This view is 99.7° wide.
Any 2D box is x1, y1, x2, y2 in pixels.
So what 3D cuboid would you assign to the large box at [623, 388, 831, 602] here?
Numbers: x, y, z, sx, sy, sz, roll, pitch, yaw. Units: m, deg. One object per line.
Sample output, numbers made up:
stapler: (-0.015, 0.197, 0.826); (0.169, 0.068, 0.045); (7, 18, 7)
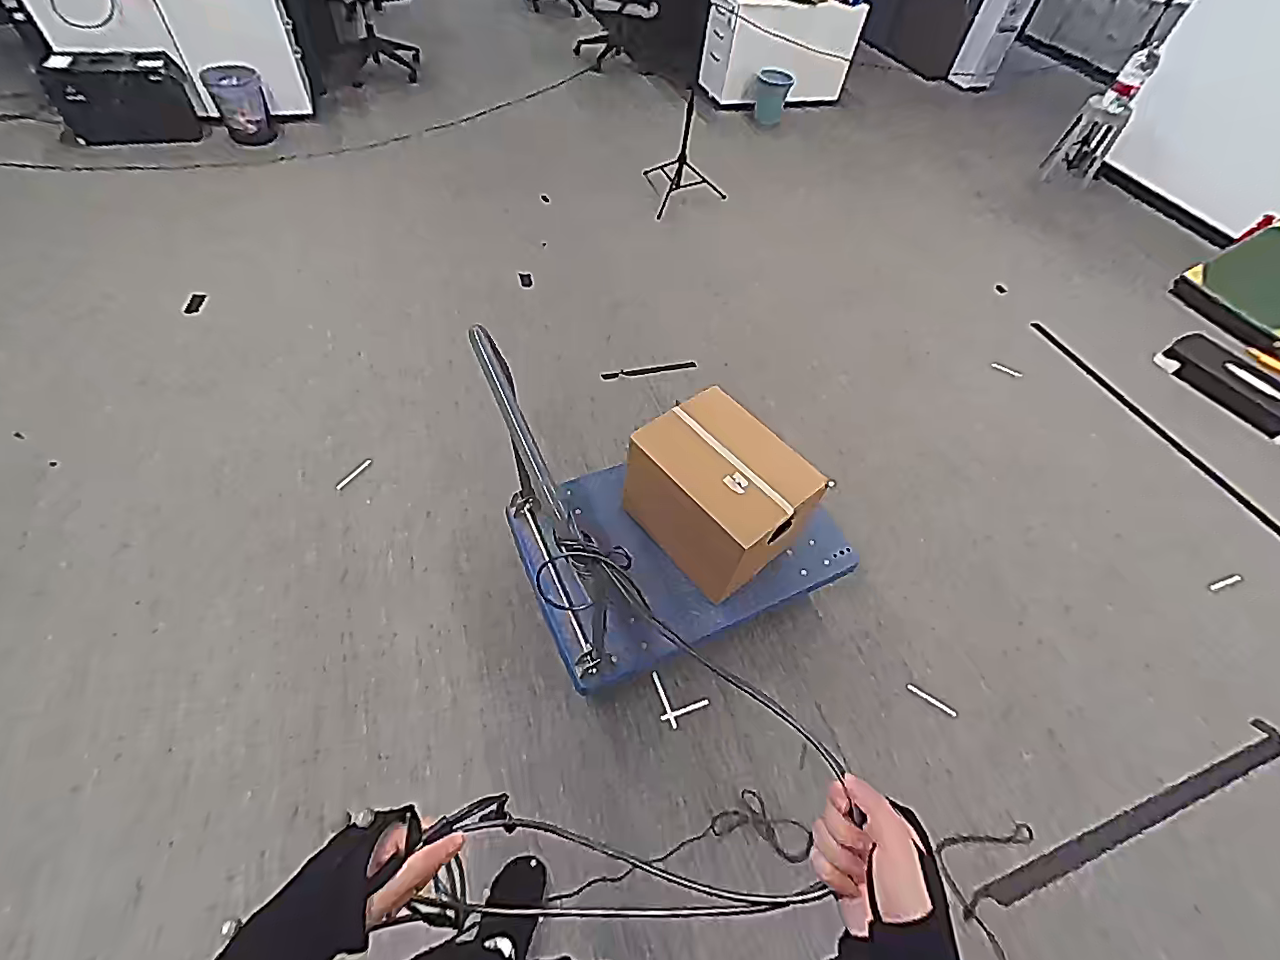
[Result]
large box: (0.204, 0.038, 1.430); (0.320, 0.320, 0.408); (-33, 65, -26)
